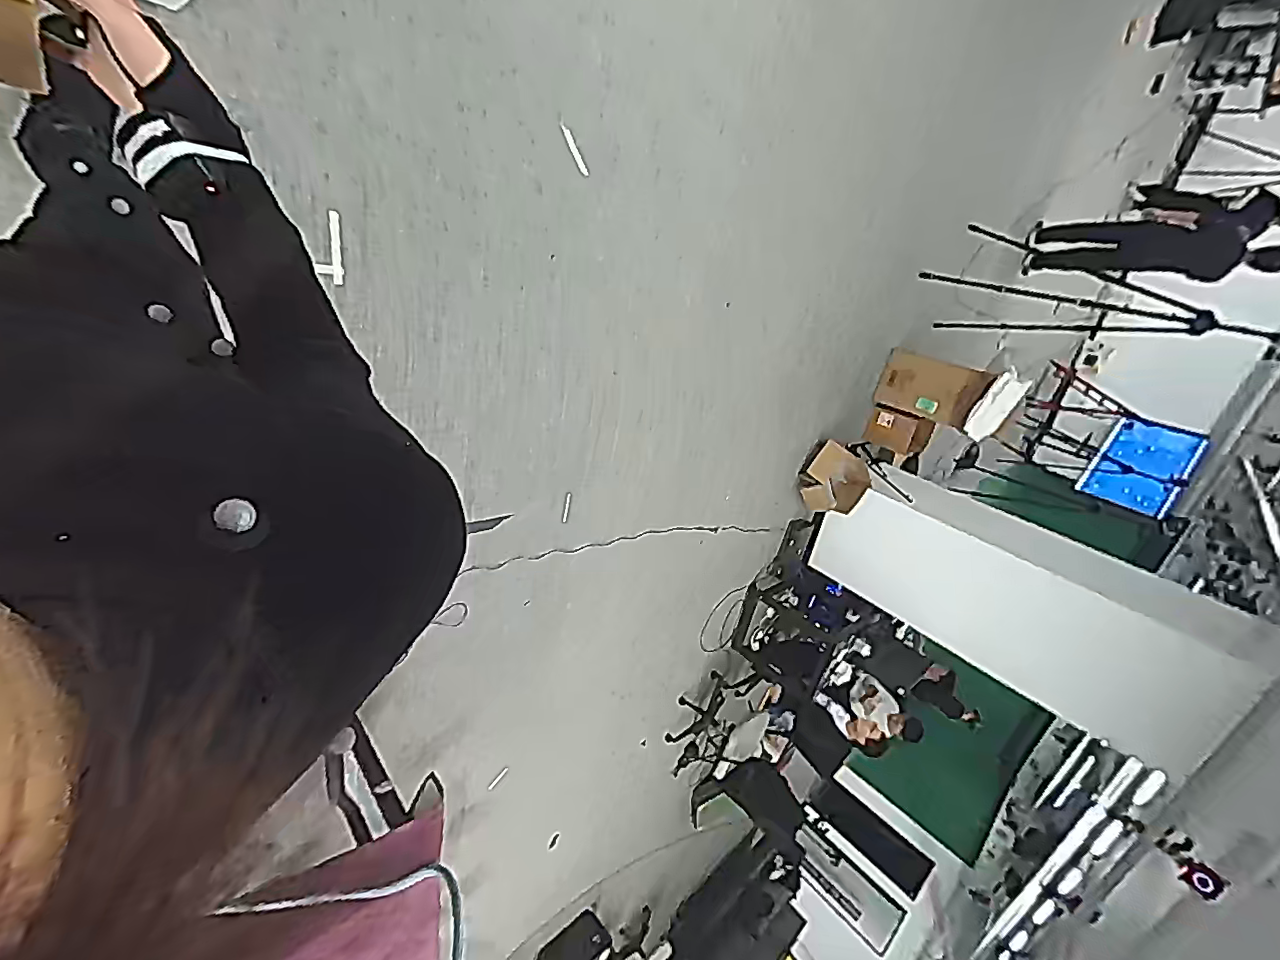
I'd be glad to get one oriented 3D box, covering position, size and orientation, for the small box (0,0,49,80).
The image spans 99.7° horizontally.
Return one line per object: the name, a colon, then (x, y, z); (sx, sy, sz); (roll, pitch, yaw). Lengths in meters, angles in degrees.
small box: (-0.526, -0.404, 0.349); (0.179, 0.176, 0.168); (-9, 103, -45)
